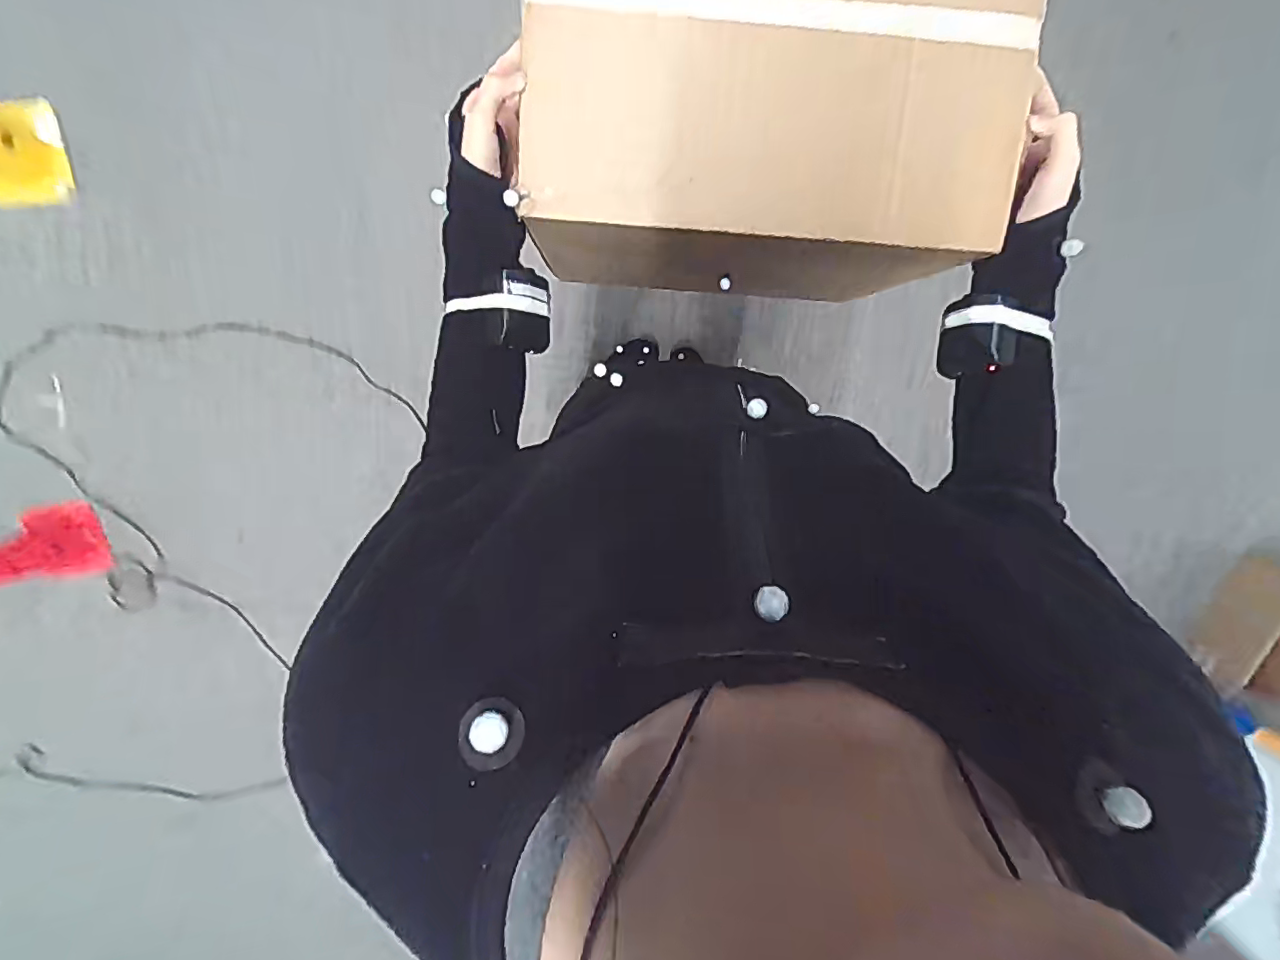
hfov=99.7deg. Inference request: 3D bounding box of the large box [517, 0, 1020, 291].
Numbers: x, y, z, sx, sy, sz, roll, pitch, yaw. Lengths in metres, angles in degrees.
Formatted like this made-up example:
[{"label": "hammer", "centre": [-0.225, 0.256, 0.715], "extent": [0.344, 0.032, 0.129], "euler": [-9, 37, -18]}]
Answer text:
[{"label": "large box", "centre": [0.099, -0.384, 0.575], "extent": [0.408, 0.320, 0.320], "euler": [2, 101, -2]}]
